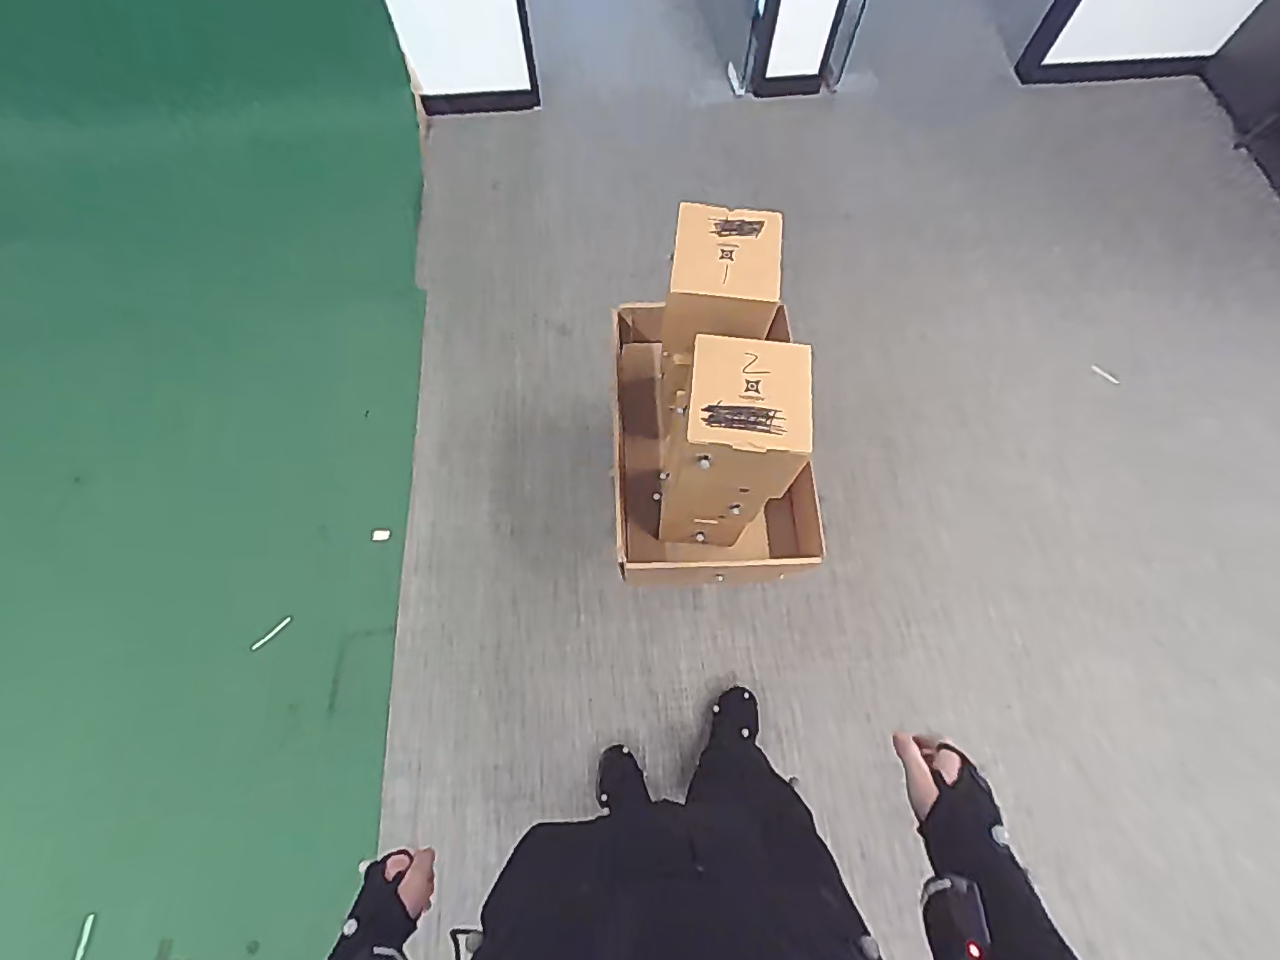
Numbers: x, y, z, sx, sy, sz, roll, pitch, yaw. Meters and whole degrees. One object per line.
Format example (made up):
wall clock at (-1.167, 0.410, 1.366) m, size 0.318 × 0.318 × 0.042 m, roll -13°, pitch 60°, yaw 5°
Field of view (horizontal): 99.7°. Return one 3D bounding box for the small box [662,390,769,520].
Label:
small box at (0.130, -0.037, 0.970) m, size 0.168 × 0.176 × 0.179 m, roll 6°, pitch 68°, yaw 0°

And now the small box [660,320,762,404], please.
small box at (0.130, -0.263, 1.063) m, size 0.168 × 0.176 × 0.179 m, roll -2°, pitch 71°, yaw -2°

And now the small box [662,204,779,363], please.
small box at (0.129, -0.324, 0.910) m, size 0.168 × 0.176 × 0.179 m, roll 7°, pitch 71°, yaw 1°

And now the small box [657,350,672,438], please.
small box at (0.127, -0.209, 1.215) m, size 0.168 × 0.176 × 0.179 m, roll -2°, pitch 70°, yaw -1°
